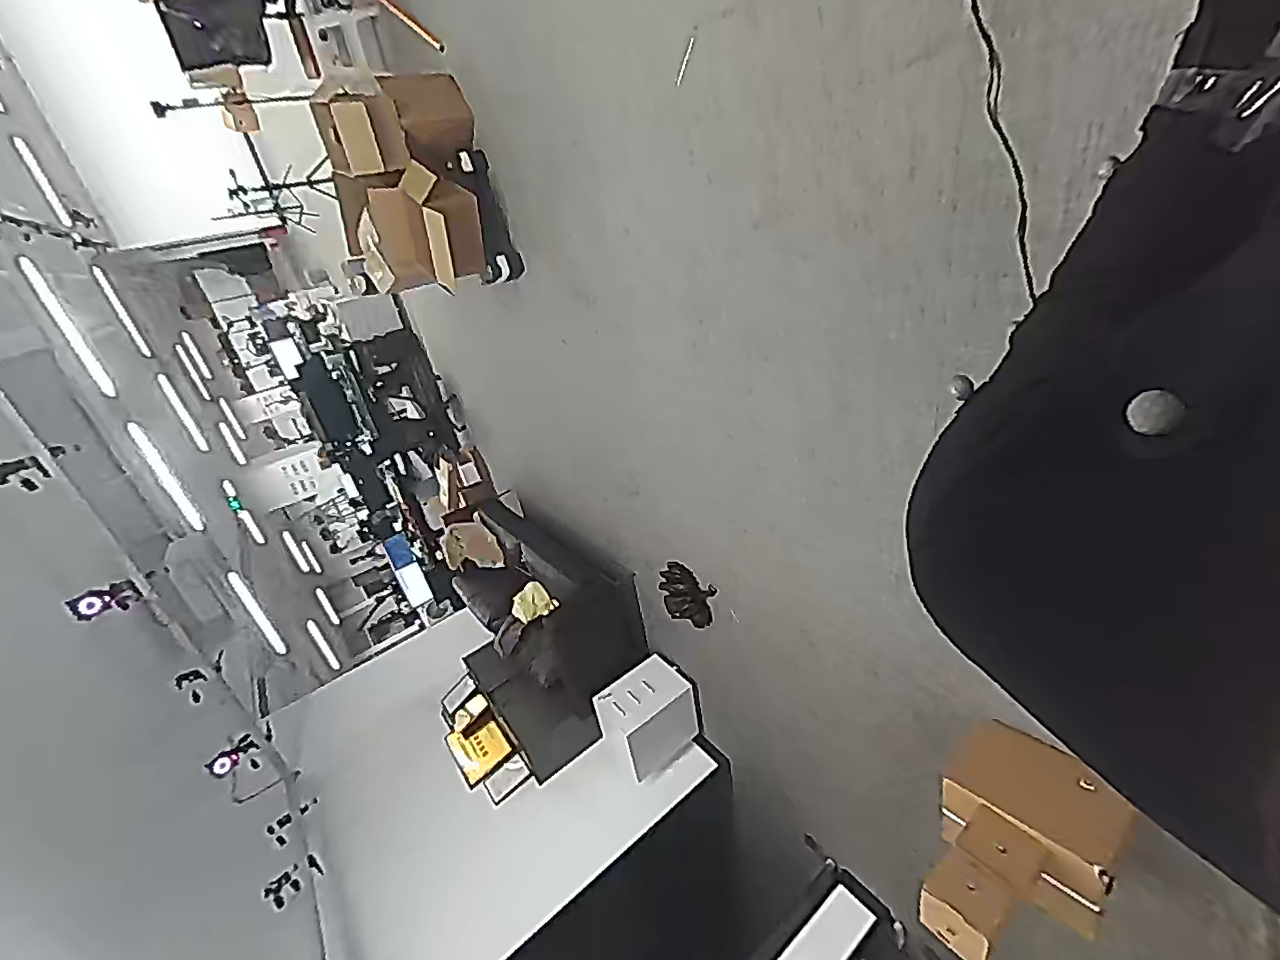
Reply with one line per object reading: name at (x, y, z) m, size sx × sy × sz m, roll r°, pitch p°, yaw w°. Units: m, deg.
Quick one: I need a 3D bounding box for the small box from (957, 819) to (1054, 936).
small box at (1.010, 1.093, 1.509) m, size 0.179 × 0.176 × 0.168 m, roll 23°, pitch 131°, yaw 49°

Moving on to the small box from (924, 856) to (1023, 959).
small box at (0.882, 1.156, 1.431) m, size 0.168 × 0.176 × 0.179 m, roll 23°, pitch 131°, yaw 50°
